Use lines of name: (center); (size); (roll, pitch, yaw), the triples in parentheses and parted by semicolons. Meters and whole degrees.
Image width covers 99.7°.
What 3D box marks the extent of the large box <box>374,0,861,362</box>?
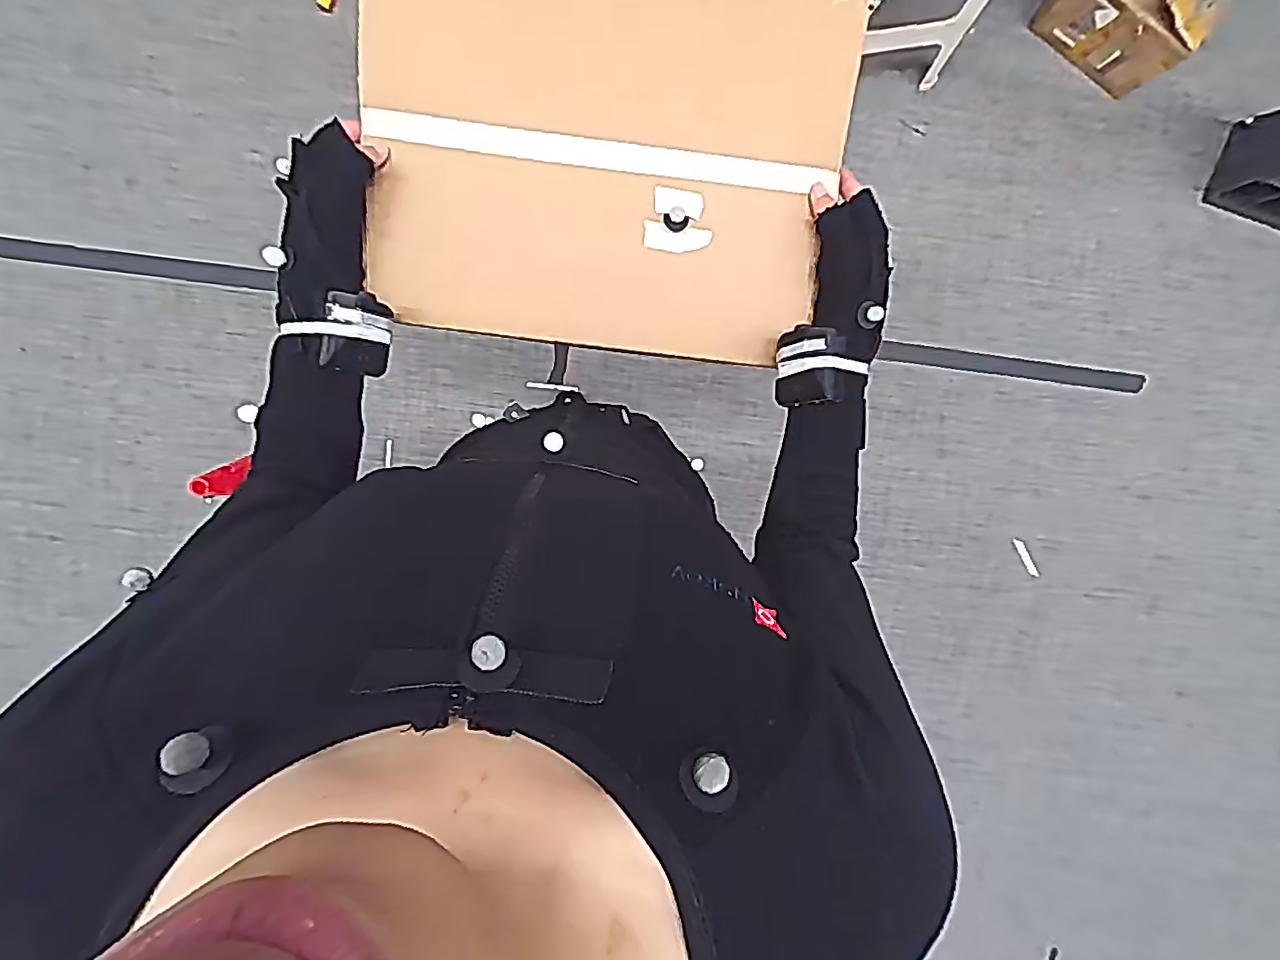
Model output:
large box: (-0.035, -0.309, 0.612); (0.408, 0.320, 0.320); (6, 103, -4)

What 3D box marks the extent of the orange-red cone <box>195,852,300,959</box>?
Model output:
orange-red cone: (-1.122, 1.244, 1.460); (0.198, 0.360, 0.199); (5, 100, -2)

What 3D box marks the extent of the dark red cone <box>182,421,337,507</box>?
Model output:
dark red cone: (-0.885, -0.016, 1.241); (0.201, 0.394, 0.202); (12, 99, -5)
